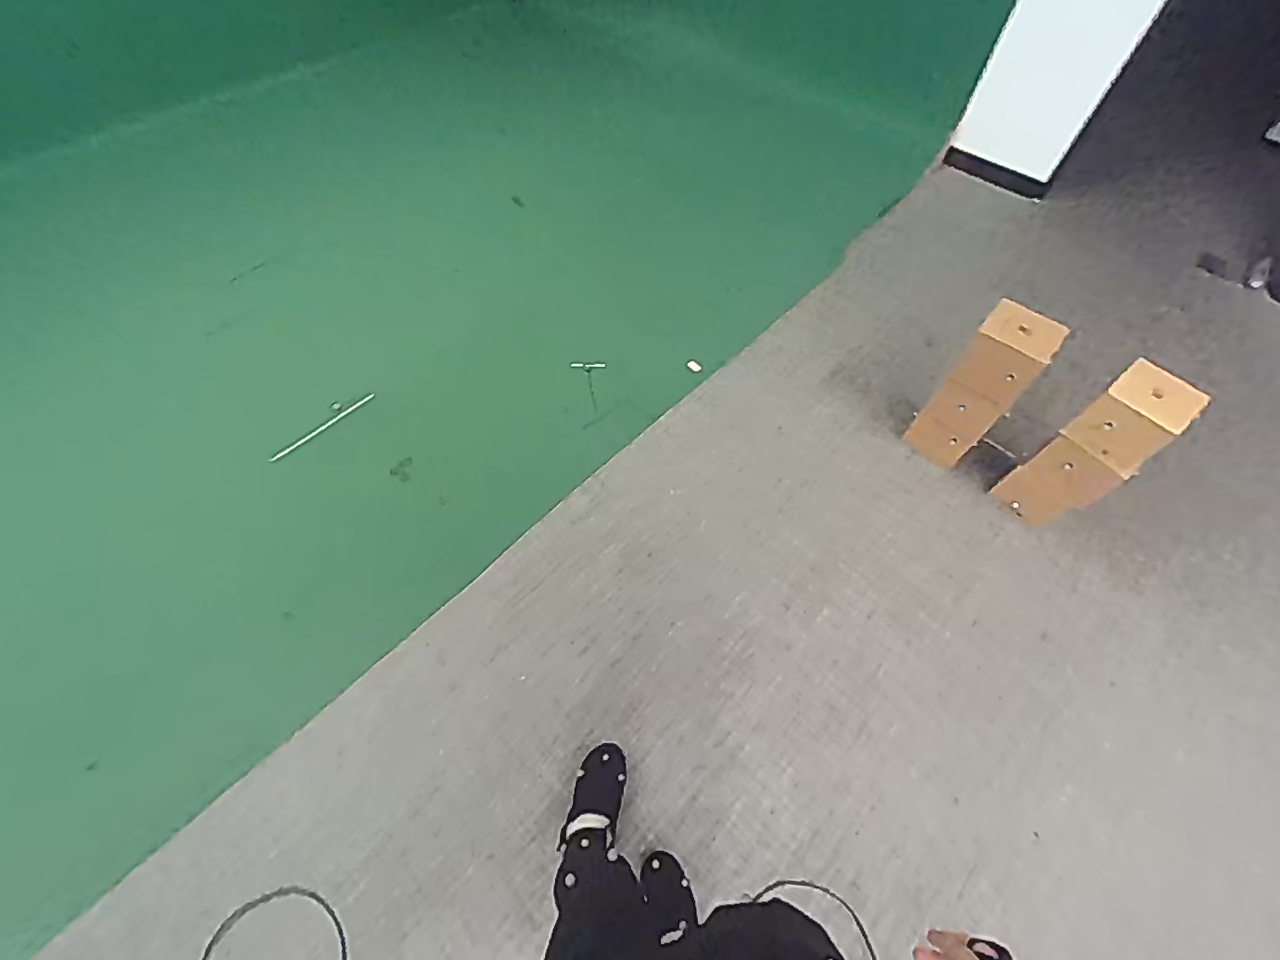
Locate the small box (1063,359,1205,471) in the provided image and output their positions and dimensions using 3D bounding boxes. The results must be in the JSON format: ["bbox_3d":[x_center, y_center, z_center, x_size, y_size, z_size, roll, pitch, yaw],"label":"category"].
[{"bbox_3d":[1.194,-0.153,1.323,0.179,0.176,0.168,-36,64,-20],"label":"small box"}]

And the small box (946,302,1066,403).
[{"bbox_3d":[0.958,-0.329,1.429,0.179,0.176,0.168,37,65,21],"label":"small box"}]

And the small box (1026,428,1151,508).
[{"bbox_3d":[1.198,-0.057,1.455,0.168,0.176,0.179,-33,63,-18],"label":"small box"}]

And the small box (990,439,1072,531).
[{"bbox_3d":[1.191,0.017,1.602,0.179,0.176,0.168,-34,63,-18],"label":"small box"}]

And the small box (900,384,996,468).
[{"bbox_3d":[0.970,-0.163,1.713,0.179,0.176,0.168,38,65,21],"label":"small box"}]
